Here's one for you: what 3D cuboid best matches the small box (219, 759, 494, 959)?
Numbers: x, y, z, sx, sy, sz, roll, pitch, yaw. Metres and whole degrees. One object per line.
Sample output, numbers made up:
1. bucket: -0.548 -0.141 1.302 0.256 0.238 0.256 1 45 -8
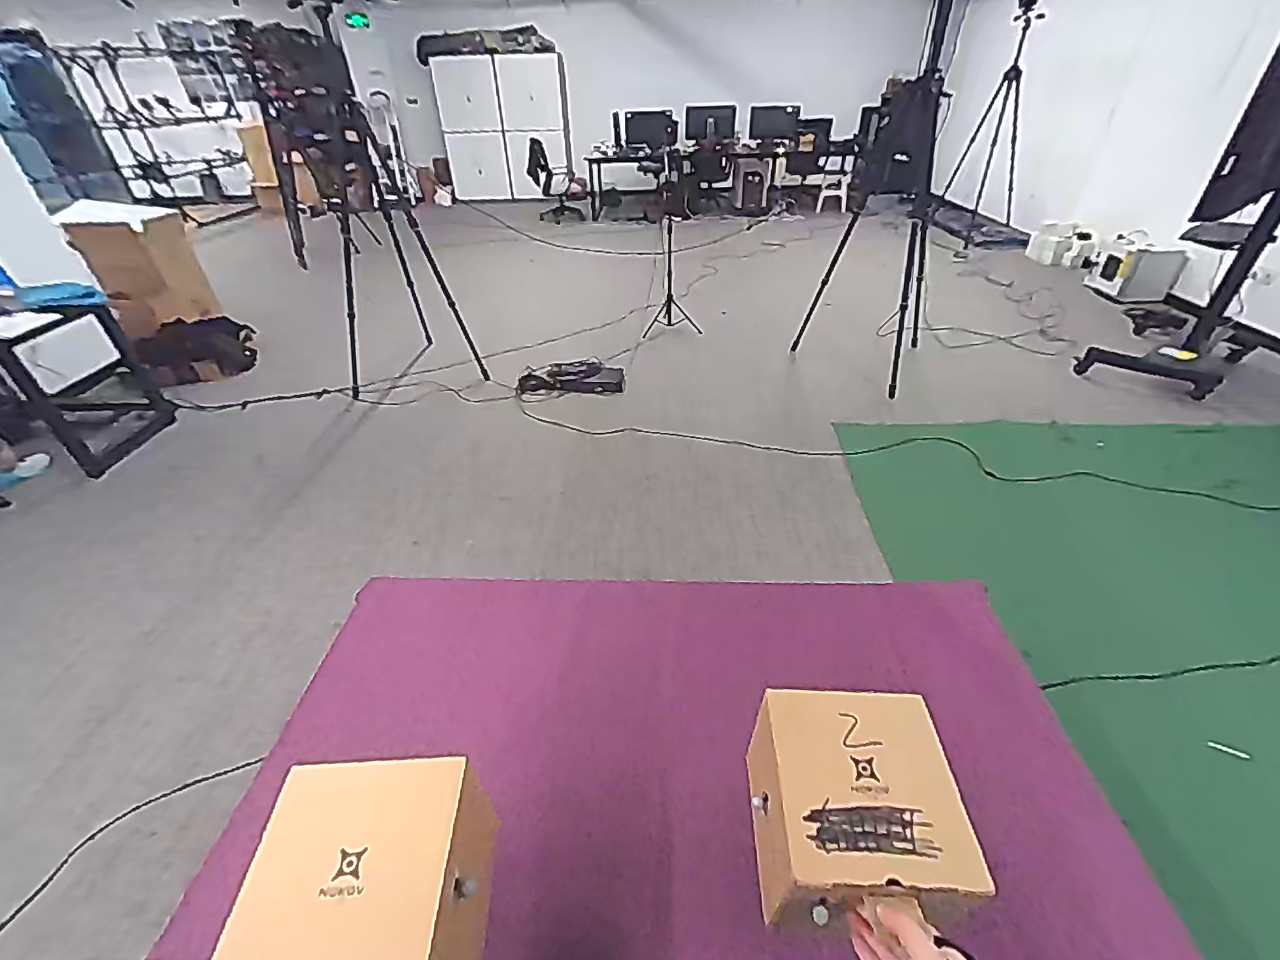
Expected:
1. small box: -0.242 0.391 0.511 0.168 0.176 0.179 -3 41 -1
